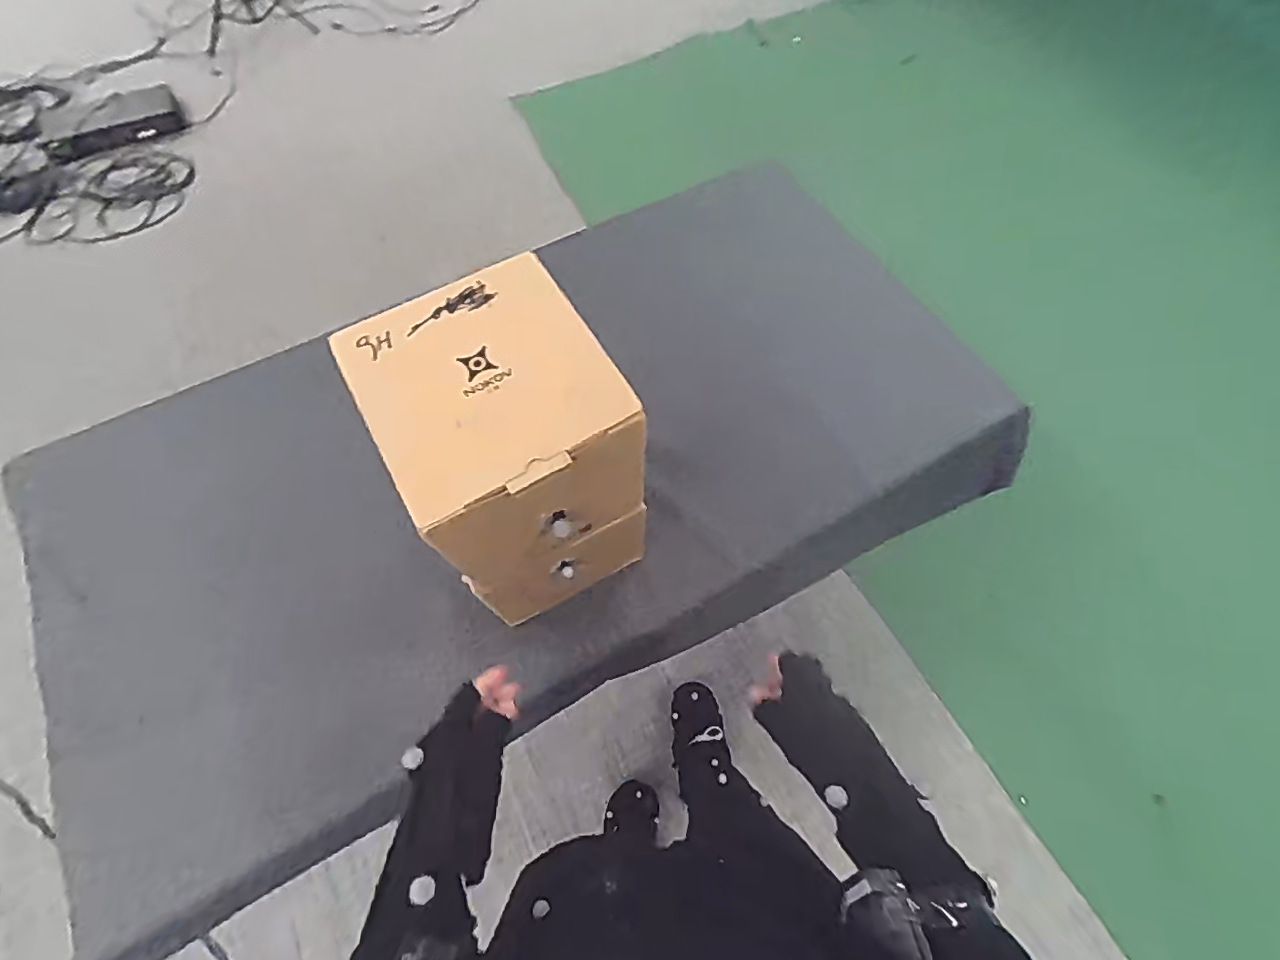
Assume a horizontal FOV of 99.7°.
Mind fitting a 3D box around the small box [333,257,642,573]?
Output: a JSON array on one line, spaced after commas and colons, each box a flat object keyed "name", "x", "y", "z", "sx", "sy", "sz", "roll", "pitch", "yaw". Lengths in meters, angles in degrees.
[{"name": "small box", "x": -0.109, "y": -0.038, "z": 0.450, "sx": 0.168, "sy": 0.176, "sz": 0.179, "roll": -29, "pitch": 70, "yaw": -13}]

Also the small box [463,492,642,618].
[{"name": "small box", "x": -0.110, "y": 0.033, "z": 0.598, "sx": 0.179, "sy": 0.176, "sz": 0.168, "roll": -27, "pitch": 69, "yaw": -13}]
